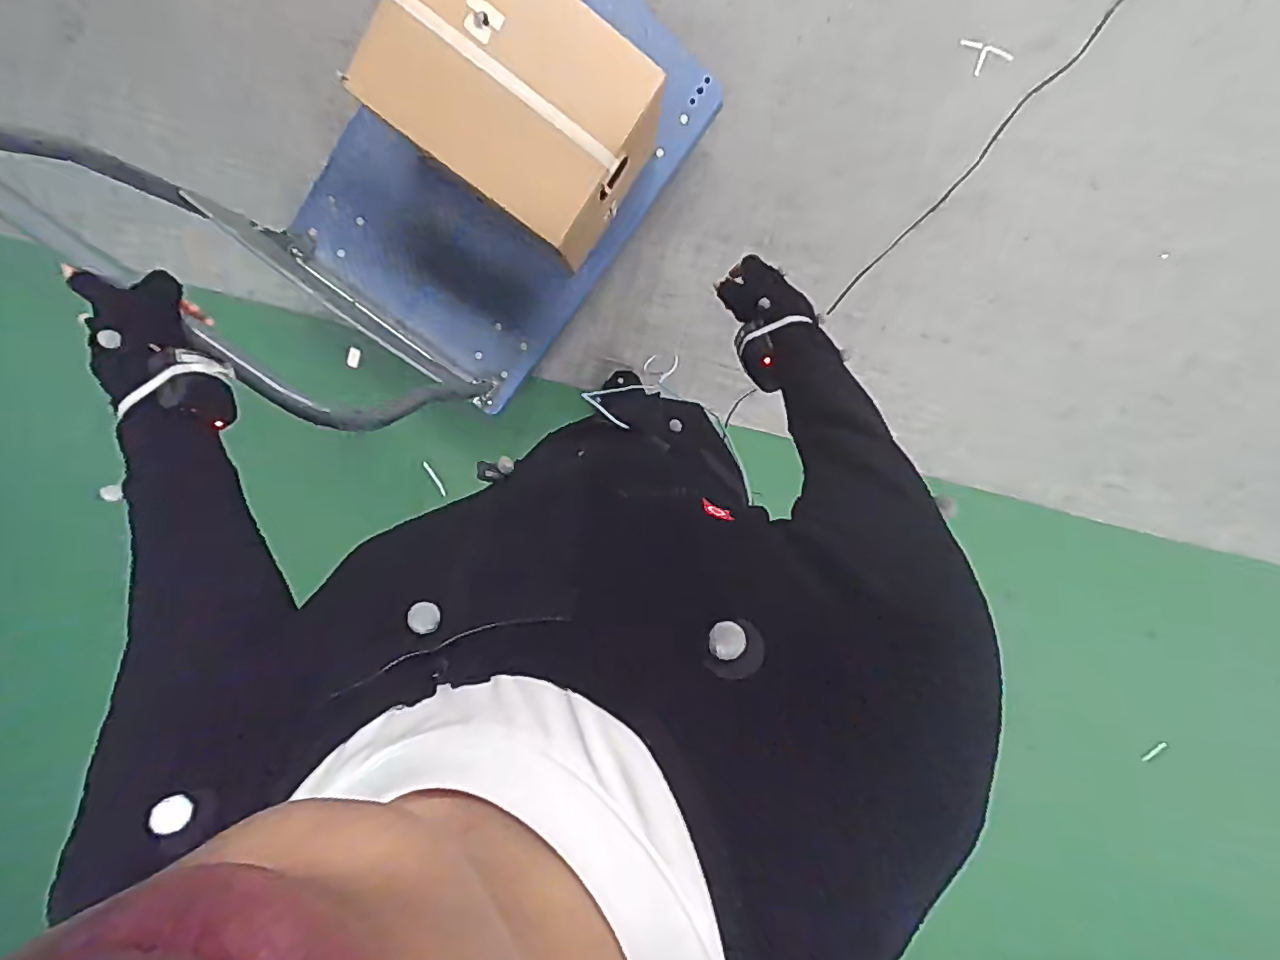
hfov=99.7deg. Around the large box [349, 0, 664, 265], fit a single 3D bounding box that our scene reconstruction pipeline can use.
[{"bbox_3d":[-0.206,-0.657,0.983,0.408,0.320,0.320,35,100,-8],"label":"large box"}]
